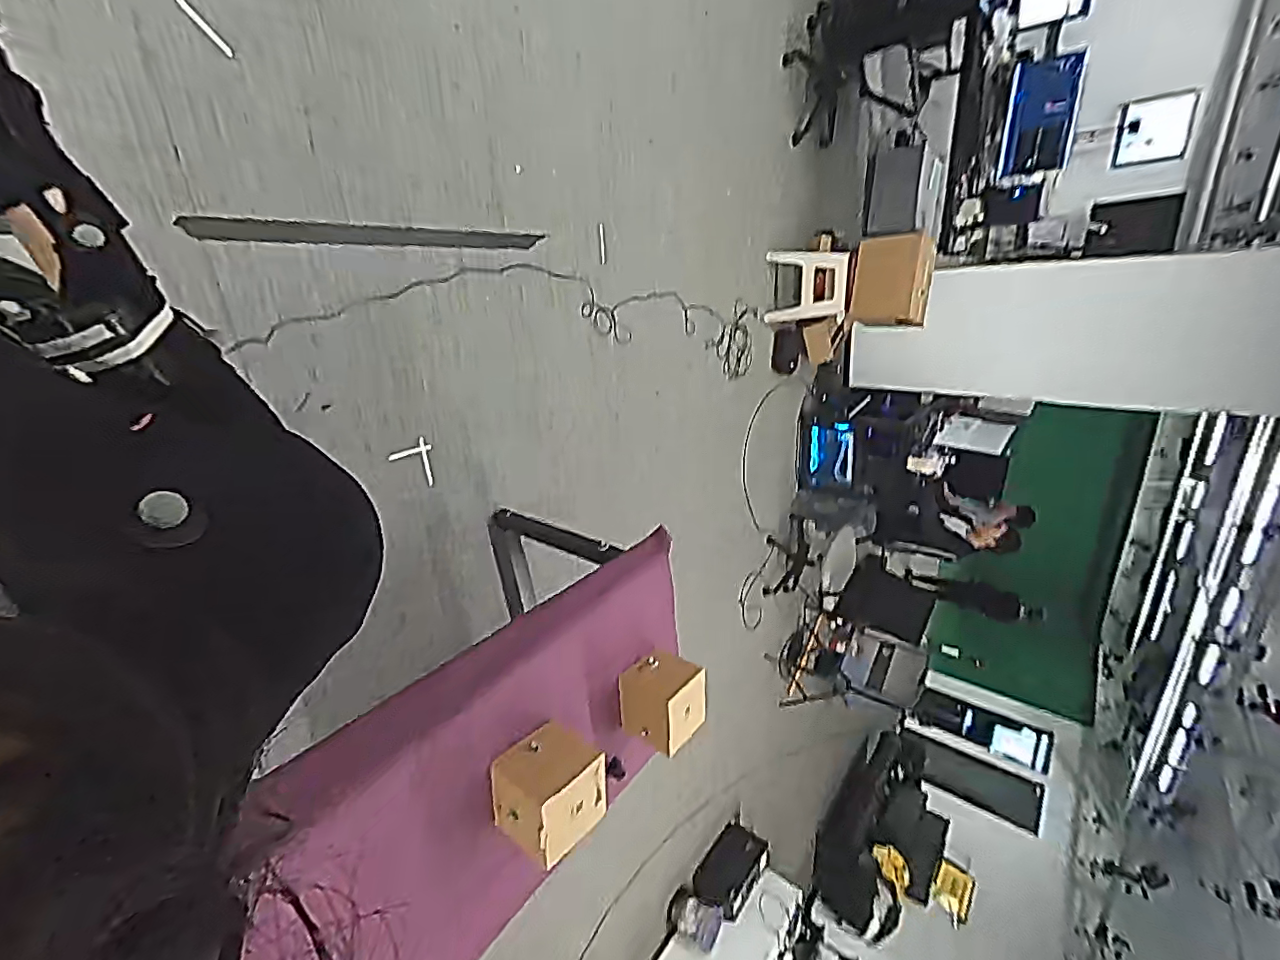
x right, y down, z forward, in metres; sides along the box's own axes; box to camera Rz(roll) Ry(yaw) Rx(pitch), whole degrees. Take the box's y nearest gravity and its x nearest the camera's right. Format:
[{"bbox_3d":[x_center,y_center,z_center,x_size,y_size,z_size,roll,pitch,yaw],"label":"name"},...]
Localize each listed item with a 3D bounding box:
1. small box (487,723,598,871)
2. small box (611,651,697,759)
[{"bbox_3d":[-0.210,0.660,1.148,0.179,0.176,0.168,-18,114,-48],"label":"small box"},{"bbox_3d":[0.038,0.591,1.443,0.168,0.176,0.179,-24,118,-47],"label":"small box"}]
